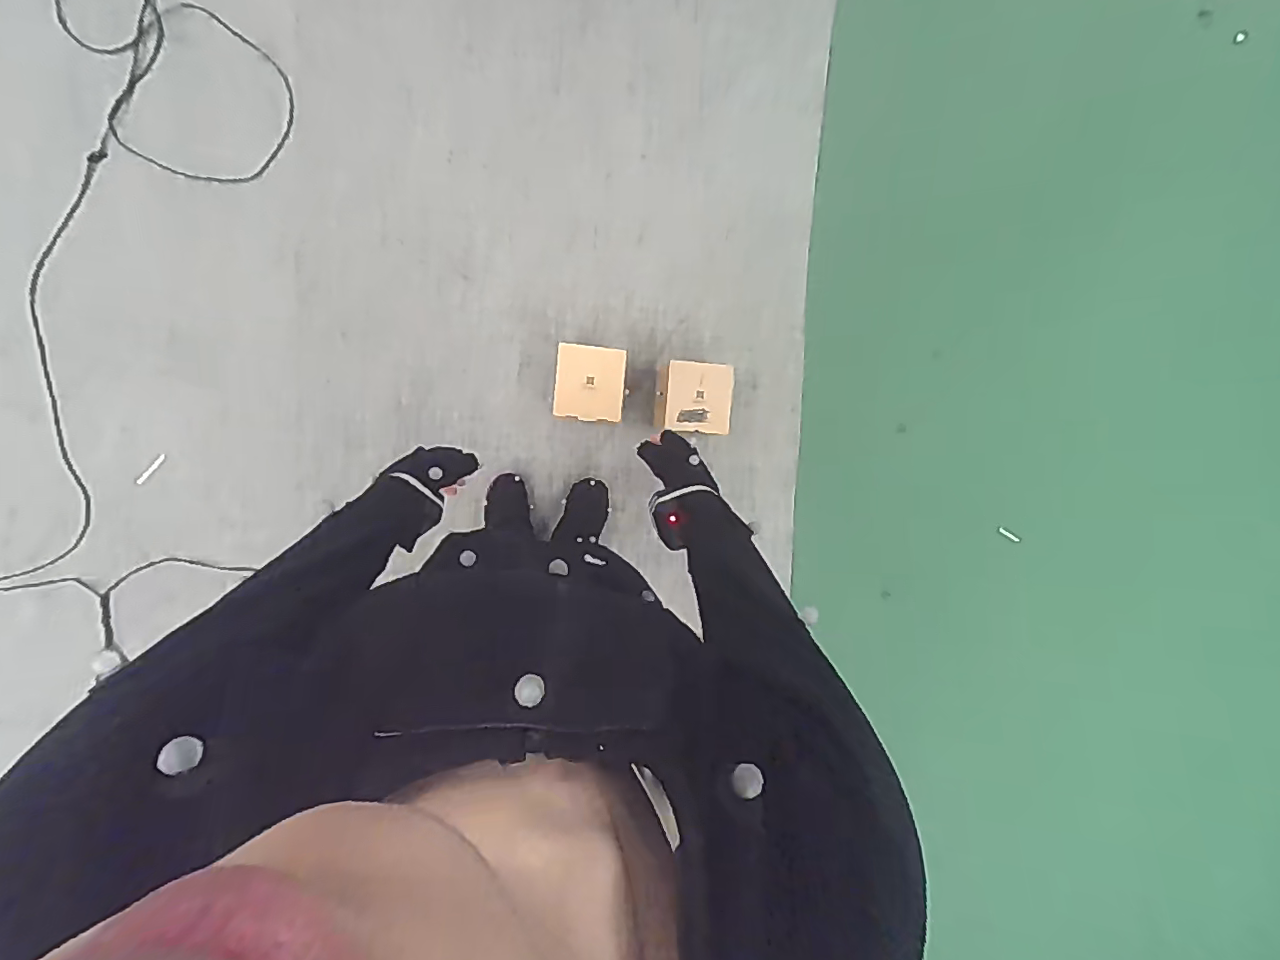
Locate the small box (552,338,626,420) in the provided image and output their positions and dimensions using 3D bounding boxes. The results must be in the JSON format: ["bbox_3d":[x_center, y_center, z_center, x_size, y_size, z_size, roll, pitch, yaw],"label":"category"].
[{"bbox_3d":[-0.134,-0.248,1.365,0.168,0.176,0.179,4,94,-9],"label":"small box"}]

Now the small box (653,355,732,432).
[{"bbox_3d":[0.130,-0.217,1.405,0.168,0.176,0.179,4,93,-8],"label":"small box"}]
